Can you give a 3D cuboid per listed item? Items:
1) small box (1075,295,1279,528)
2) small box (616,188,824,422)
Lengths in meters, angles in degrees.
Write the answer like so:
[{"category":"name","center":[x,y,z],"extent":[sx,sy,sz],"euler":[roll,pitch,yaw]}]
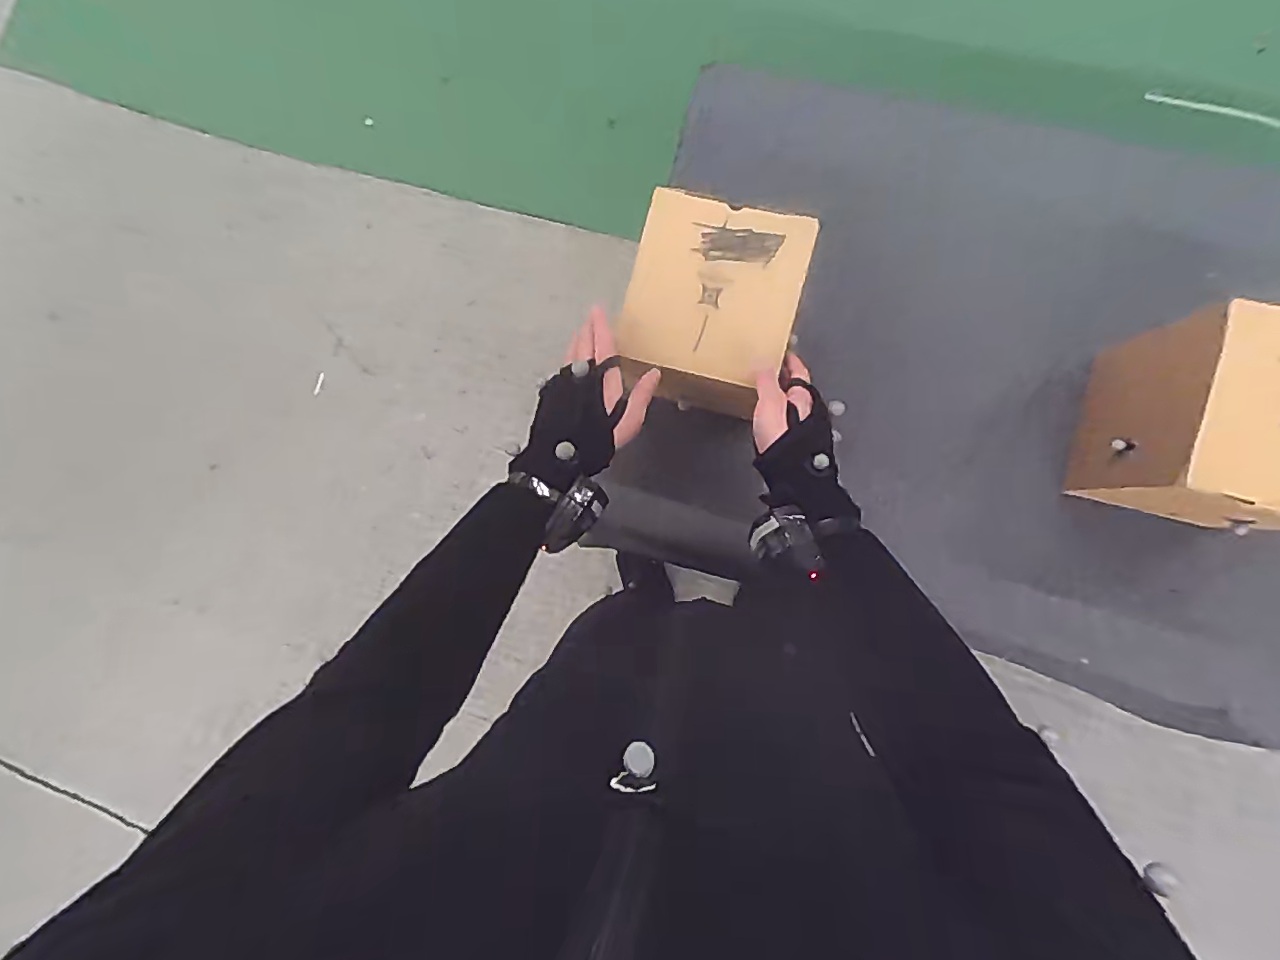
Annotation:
[{"category":"small box","center":[0.582,-0.052,0.534],"extent":[0.168,0.176,0.179],"euler":[14,87,6]},{"category":"small box","center":[0.083,-0.177,0.596],"extent":[0.168,0.176,0.179],"euler":[15,88,7]}]
